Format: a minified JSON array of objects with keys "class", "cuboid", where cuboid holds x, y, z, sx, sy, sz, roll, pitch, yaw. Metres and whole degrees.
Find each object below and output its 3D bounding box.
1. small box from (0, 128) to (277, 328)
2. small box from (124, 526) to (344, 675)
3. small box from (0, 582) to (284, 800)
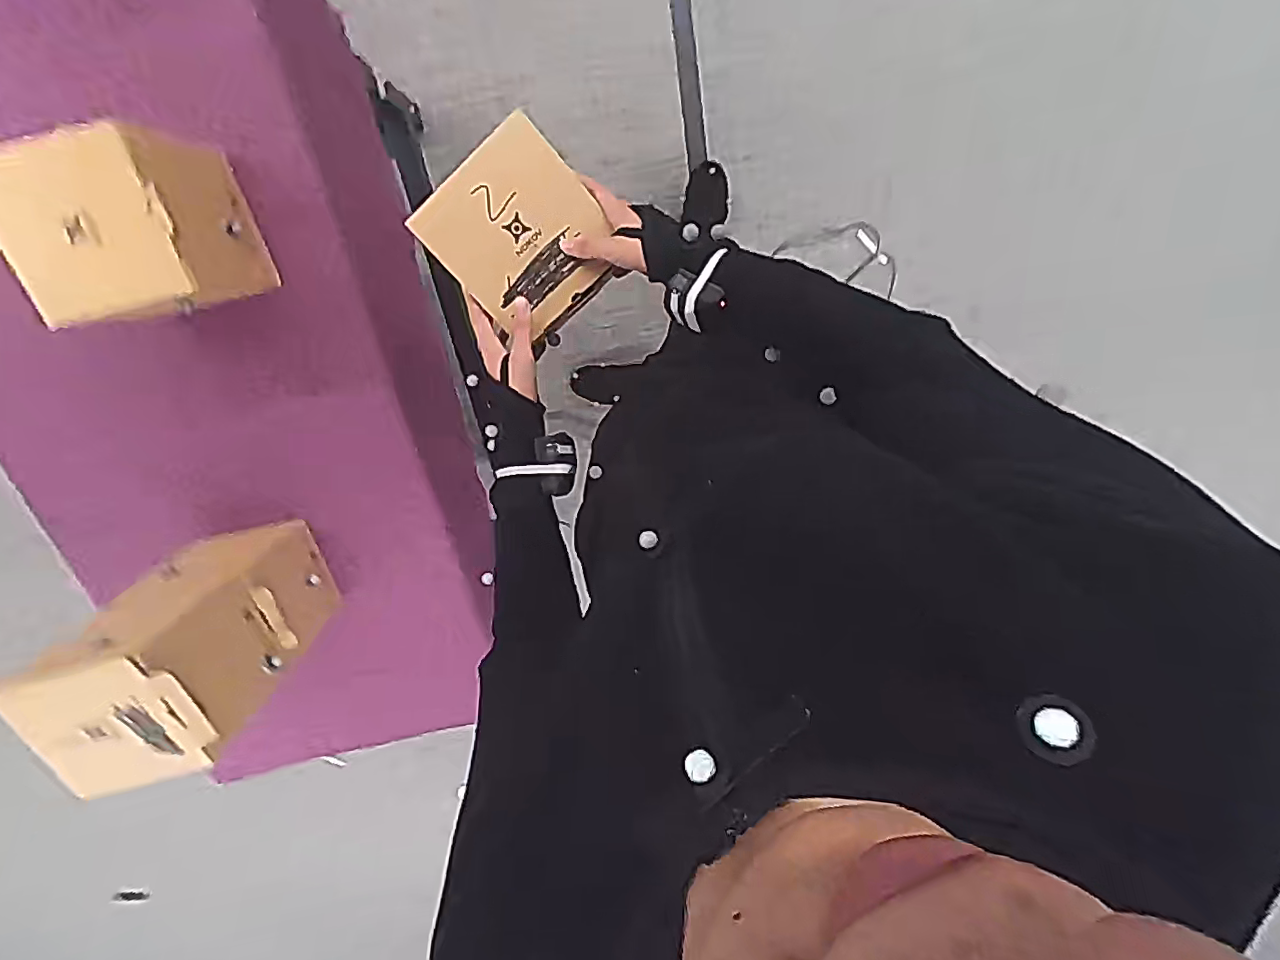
[{"class":"small box","cuboid":[-0.588,-0.286,0.641,0.179,0.176,0.168,-13,112,1]},{"class":"small box","cuboid":[-0.597,0.189,0.824,0.179,0.176,0.168,-12,112,1]},{"class":"small box","cuboid":[-0.587,0.250,0.672,0.179,0.176,0.168,-16,111,3]}]
